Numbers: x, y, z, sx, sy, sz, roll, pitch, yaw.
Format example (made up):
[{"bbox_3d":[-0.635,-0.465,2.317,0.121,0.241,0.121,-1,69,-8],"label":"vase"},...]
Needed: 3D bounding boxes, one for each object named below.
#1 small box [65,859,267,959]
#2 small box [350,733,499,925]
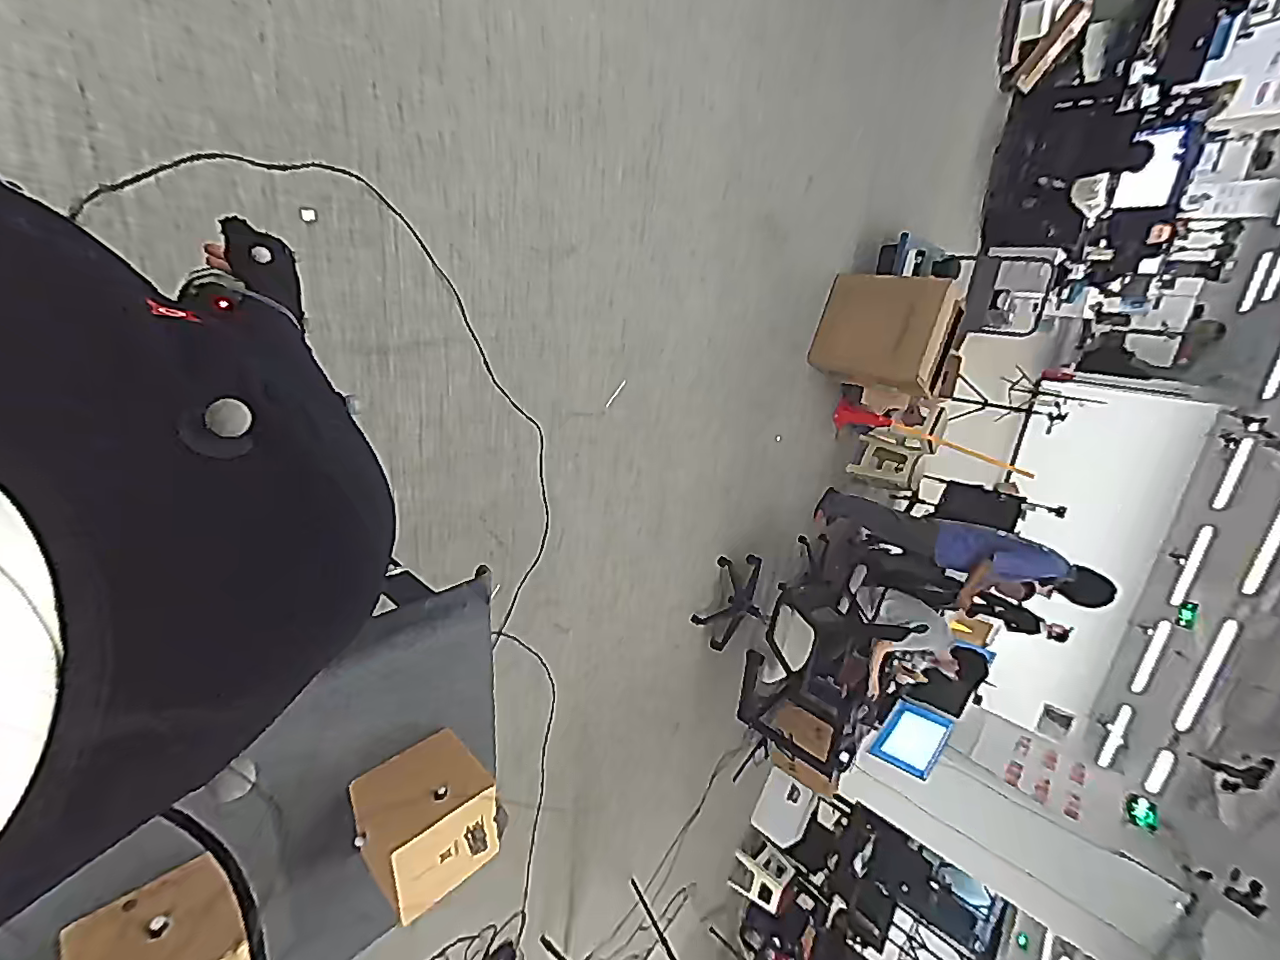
[{"bbox_3d":[-0.587,0.630,0.683,0.168,0.176,0.179,-15,117,-45],"label":"small box"},{"bbox_3d":[-0.362,0.575,0.919,0.179,0.176,0.168,-18,119,-43],"label":"small box"}]
